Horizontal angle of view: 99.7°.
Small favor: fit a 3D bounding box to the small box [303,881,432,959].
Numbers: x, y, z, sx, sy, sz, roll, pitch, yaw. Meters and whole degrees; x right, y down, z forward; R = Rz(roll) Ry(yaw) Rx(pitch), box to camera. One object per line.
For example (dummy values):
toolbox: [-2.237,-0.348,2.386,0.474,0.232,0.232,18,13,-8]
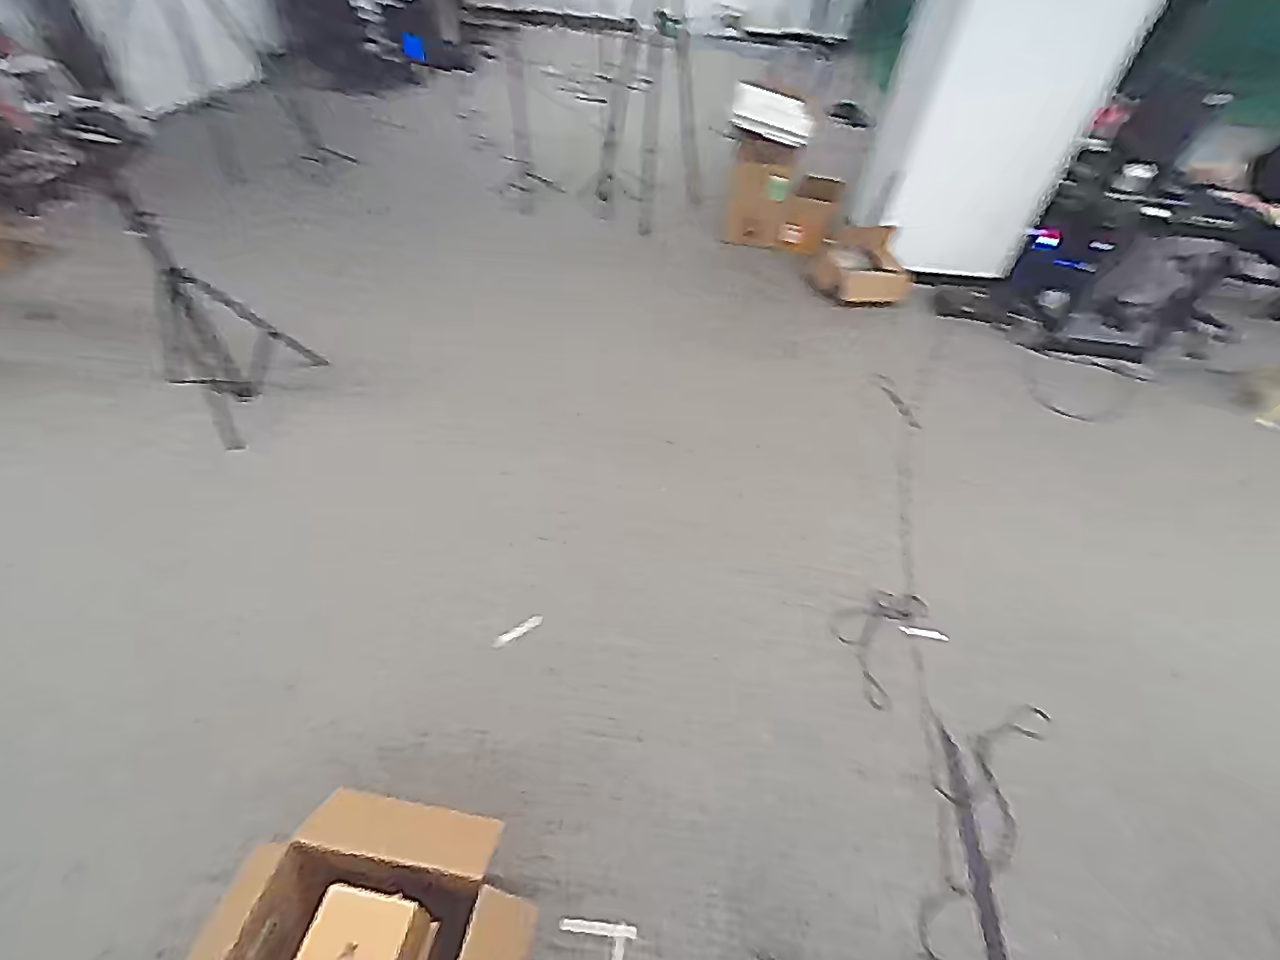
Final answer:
small box: [-0.502,0.877,0.994,0.168,0.176,0.179,11,45,4]
